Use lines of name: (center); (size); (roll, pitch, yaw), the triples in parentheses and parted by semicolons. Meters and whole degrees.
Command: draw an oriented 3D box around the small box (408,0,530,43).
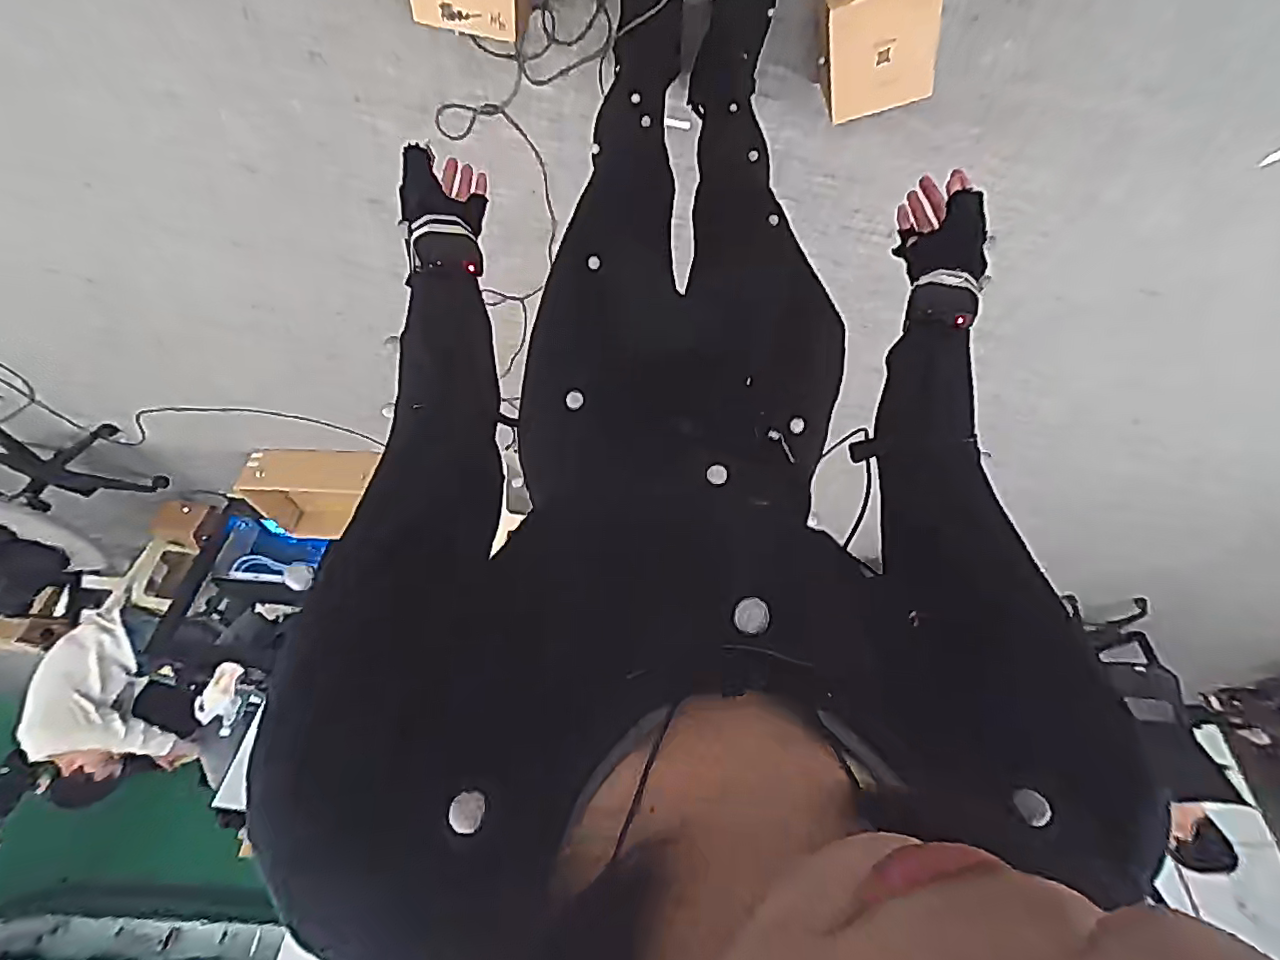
small box: (-0.265, -0.832, 0.844); (0.168, 0.176, 0.179); (8, 143, -6)

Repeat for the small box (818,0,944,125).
small box: (0.397, -0.751, 0.914); (0.168, 0.176, 0.179); (-7, 145, 17)
